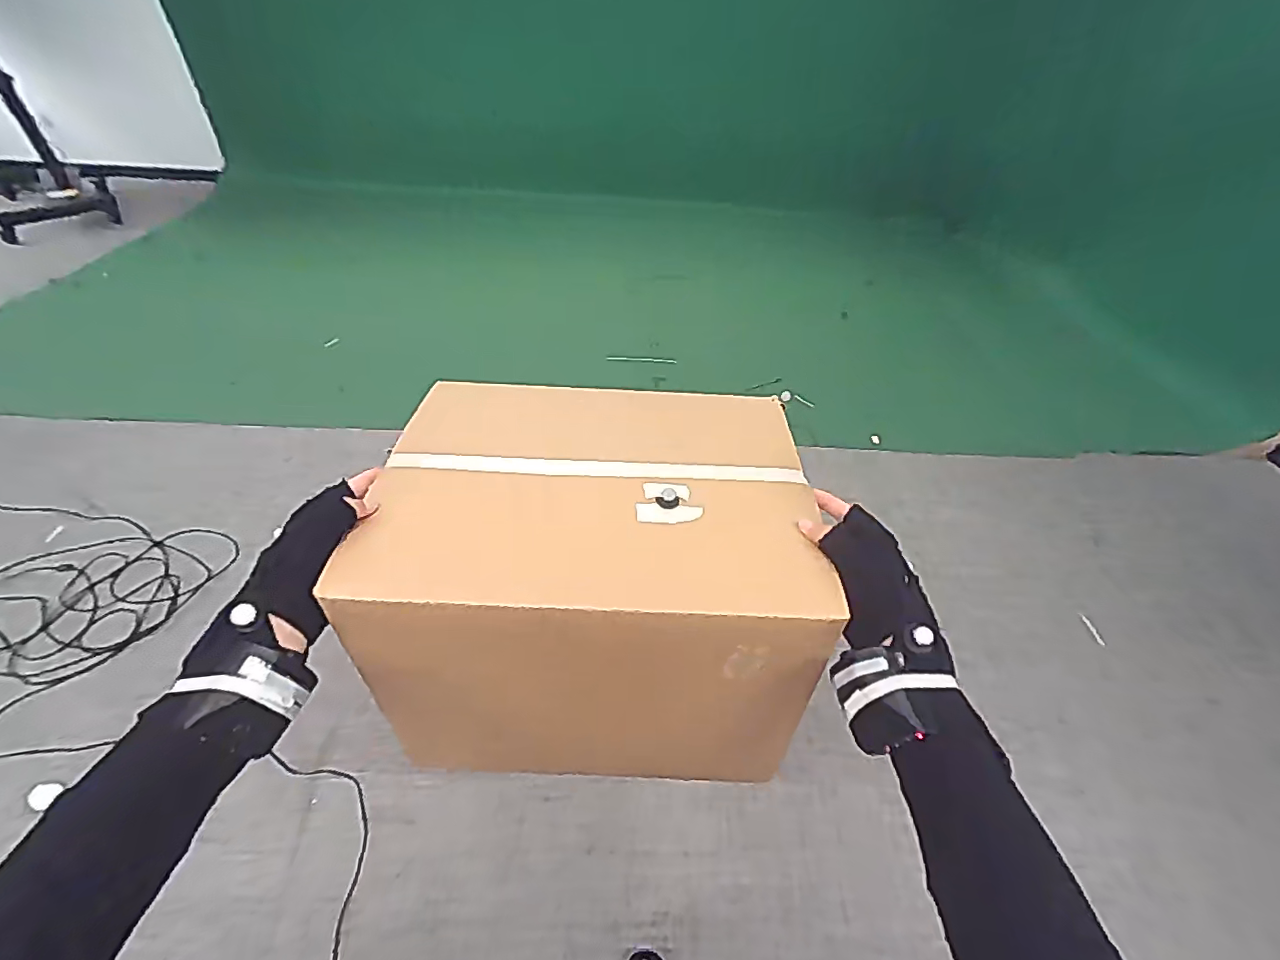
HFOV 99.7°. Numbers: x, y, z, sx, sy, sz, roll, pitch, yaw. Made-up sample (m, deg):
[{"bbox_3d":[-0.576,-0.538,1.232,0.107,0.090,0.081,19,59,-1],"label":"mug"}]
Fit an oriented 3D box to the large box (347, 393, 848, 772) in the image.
[{"bbox_3d":[-0.039,0.116,0.630,0.408,0.320,0.320,3,41,-1],"label":"large box"}]
